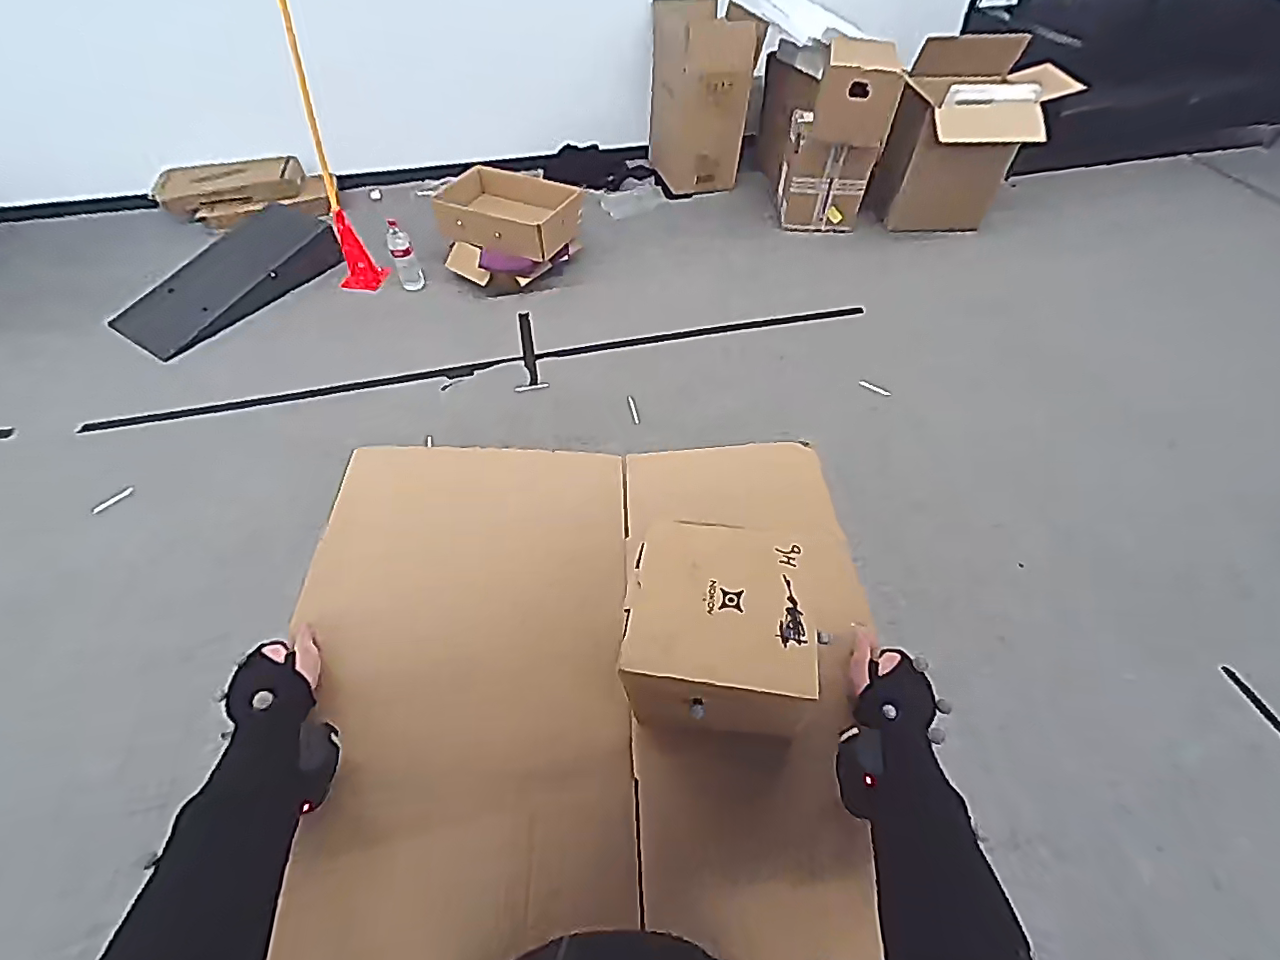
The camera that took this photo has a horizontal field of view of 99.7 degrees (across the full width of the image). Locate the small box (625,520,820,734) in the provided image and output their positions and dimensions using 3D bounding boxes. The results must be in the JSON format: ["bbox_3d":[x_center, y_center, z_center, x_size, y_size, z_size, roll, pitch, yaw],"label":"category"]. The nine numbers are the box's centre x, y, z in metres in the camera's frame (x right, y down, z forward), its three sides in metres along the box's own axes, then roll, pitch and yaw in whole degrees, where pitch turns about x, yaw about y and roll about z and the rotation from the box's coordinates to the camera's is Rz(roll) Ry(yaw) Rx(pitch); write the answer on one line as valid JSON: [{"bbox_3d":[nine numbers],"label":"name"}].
[{"bbox_3d":[0.093,0.162,0.587,0.179,0.176,0.168,4,53,11],"label":"small box"}]
